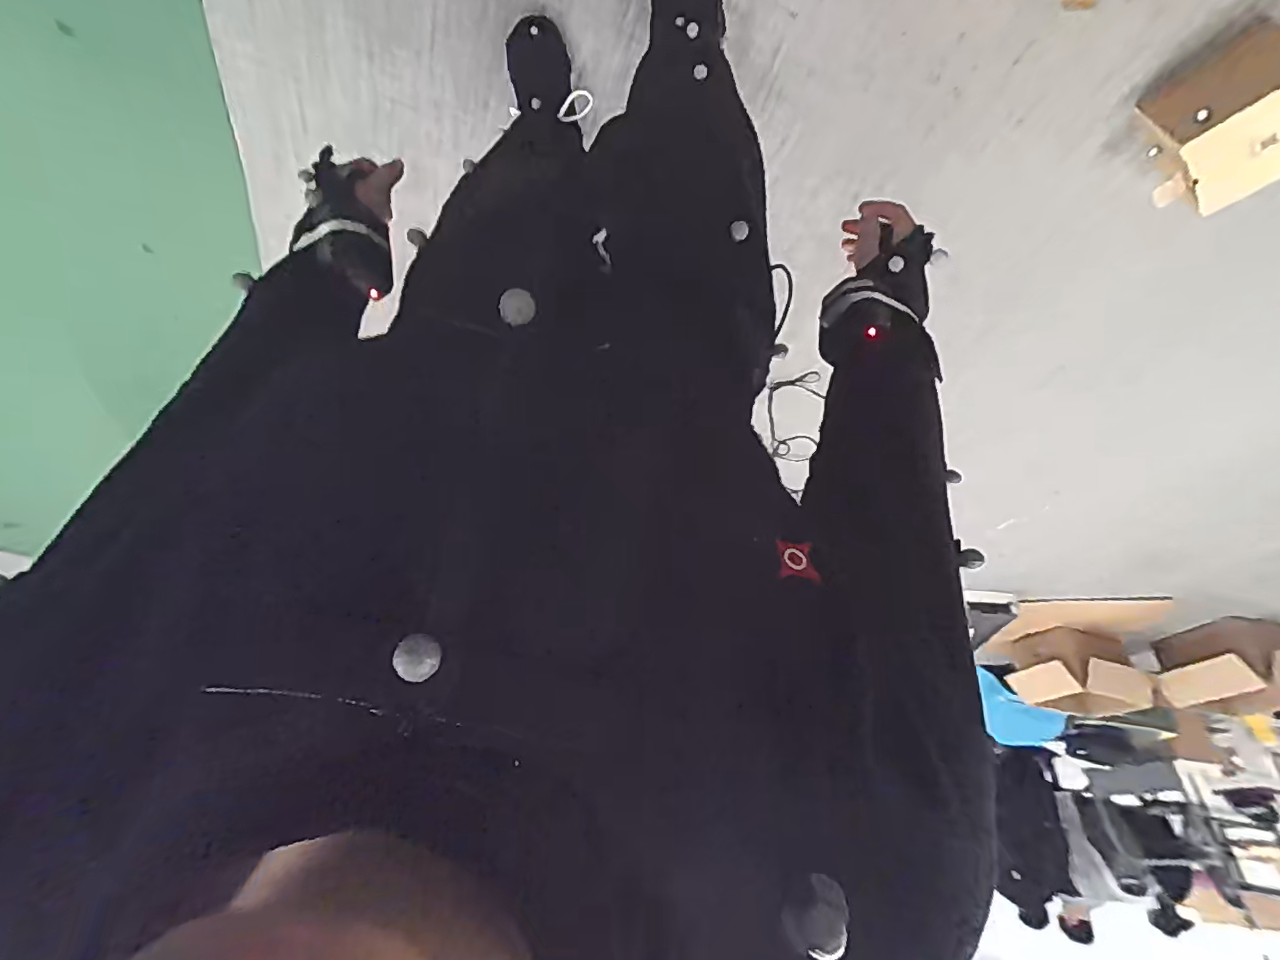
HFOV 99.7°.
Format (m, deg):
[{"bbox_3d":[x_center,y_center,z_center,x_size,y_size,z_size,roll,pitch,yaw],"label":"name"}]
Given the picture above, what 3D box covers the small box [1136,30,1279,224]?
[{"bbox_3d":[0.974,-0.576,0.887,0.168,0.176,0.179,31,138,-30],"label":"small box"}]
